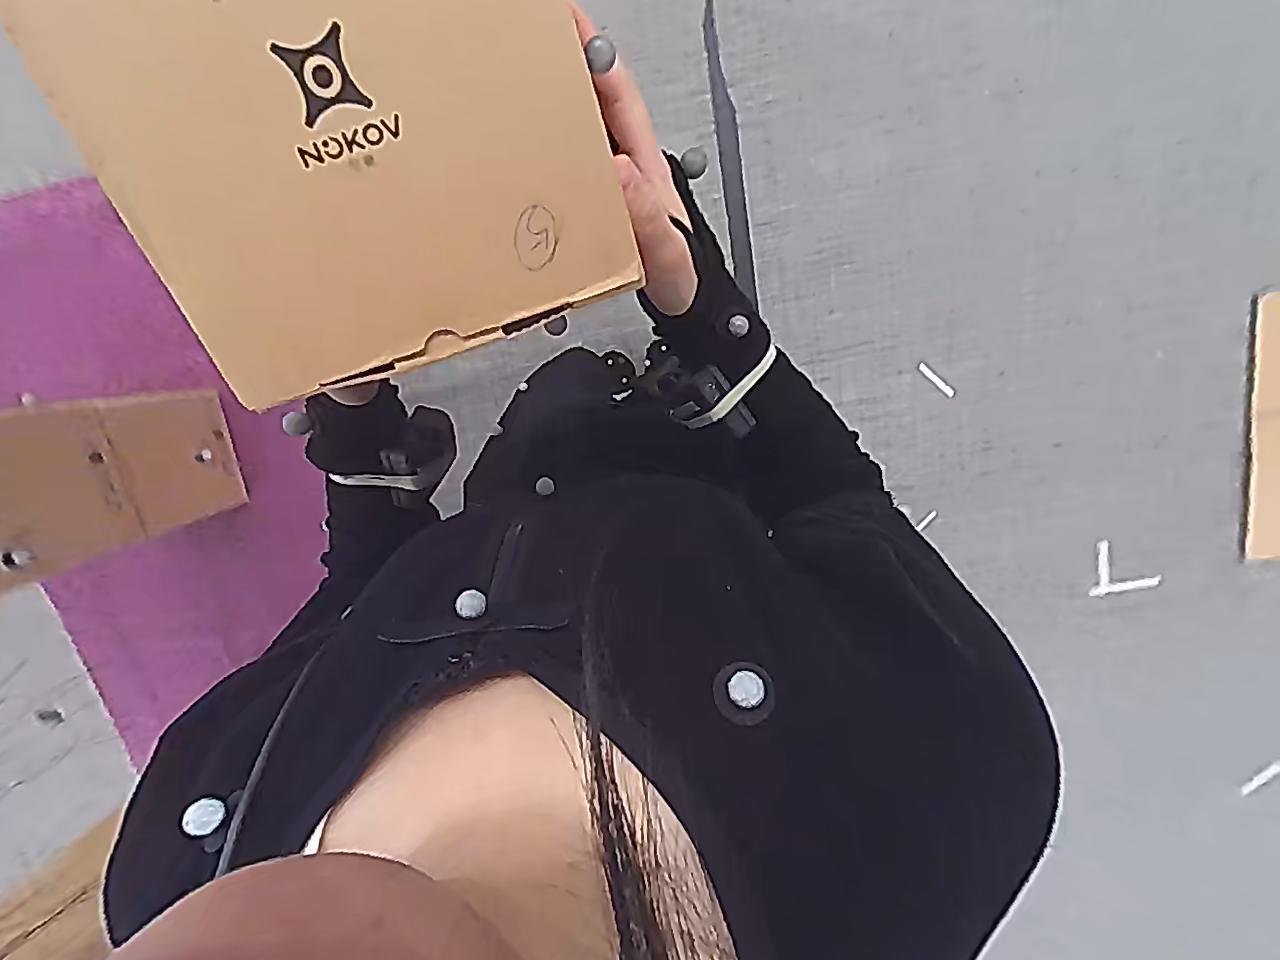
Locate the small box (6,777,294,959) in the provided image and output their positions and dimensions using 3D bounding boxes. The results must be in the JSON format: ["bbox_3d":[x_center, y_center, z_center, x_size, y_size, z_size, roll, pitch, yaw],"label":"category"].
[{"bbox_3d":[-0.584,0.501,0.671,0.179,0.176,0.168,-9,104,8],"label":"small box"}]

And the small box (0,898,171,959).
[{"bbox_3d":[-0.595,0.540,0.511,0.179,0.176,0.168,-9,104,6],"label":"small box"}]

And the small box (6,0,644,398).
[{"bbox_3d":[-0.103,-0.160,0.247,0.168,0.176,0.179,-17,113,1],"label":"small box"}]

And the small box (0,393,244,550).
[{"bbox_3d":[-0.677,-0.018,0.707,0.179,0.176,0.168,-4,105,5],"label":"small box"}]
